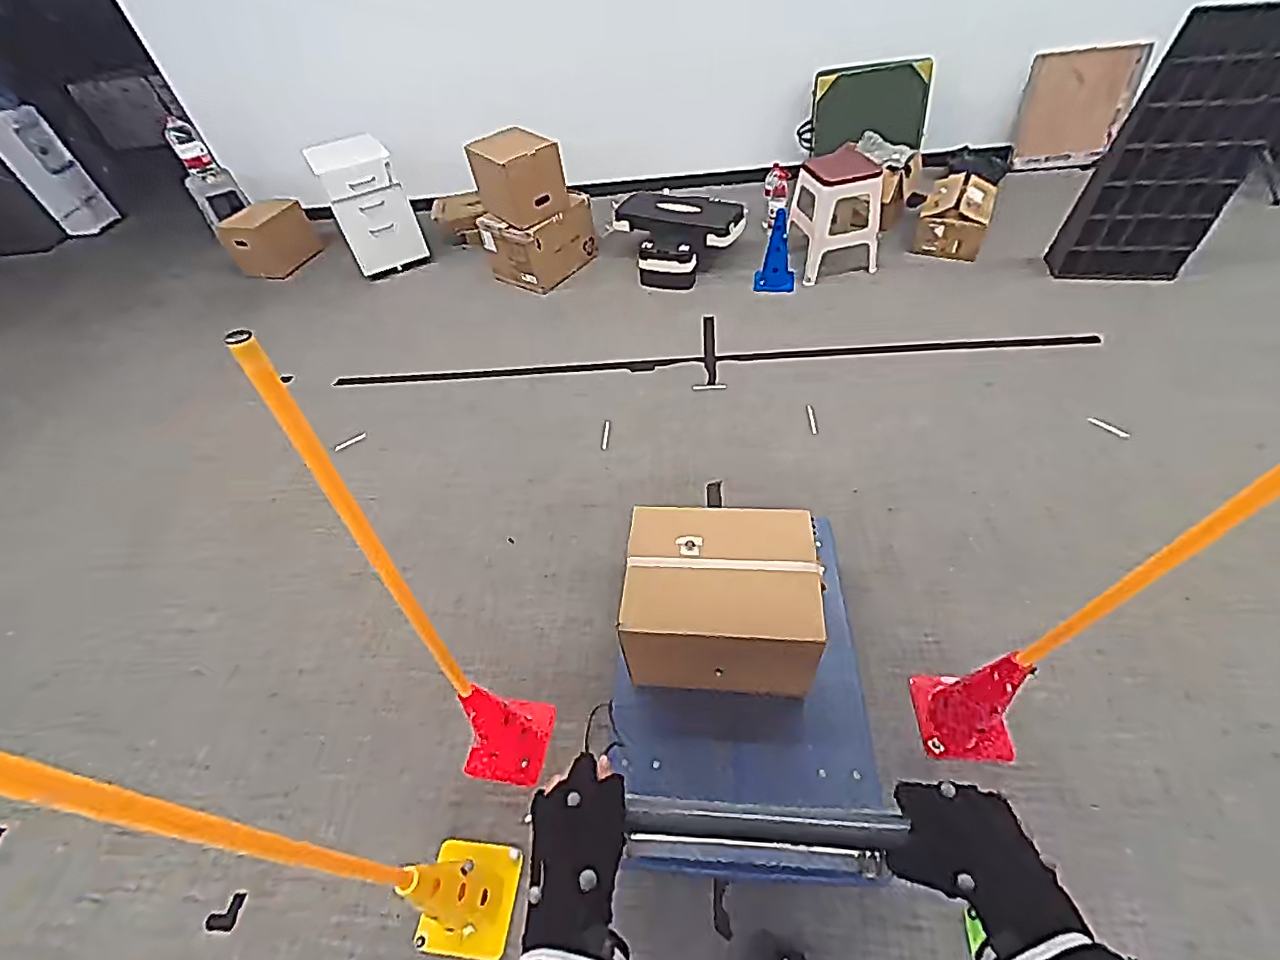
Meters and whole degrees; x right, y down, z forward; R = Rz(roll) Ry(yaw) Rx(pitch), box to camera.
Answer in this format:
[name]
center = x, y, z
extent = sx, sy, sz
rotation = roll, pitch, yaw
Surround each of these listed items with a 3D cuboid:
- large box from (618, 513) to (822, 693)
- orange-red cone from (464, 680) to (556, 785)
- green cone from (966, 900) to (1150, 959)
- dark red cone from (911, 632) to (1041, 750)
[large box]
center = 0.182, 0.288, 1.261
extent = 0.408, 0.320, 0.320
rotation = 0, 50, 9
[orange-red cone]
center = -0.347, 0.561, 1.289
extent = 0.198, 0.360, 0.199
rotation = 5, 48, 11
[green cone]
center = 0.735, 0.824, 0.902
extent = 0.202, 0.368, 0.200
rotation = 2, 49, 8
[dark red cone]
center = 0.778, 0.447, 1.205
extent = 0.201, 0.394, 0.202
rotation = -1, 49, 5
